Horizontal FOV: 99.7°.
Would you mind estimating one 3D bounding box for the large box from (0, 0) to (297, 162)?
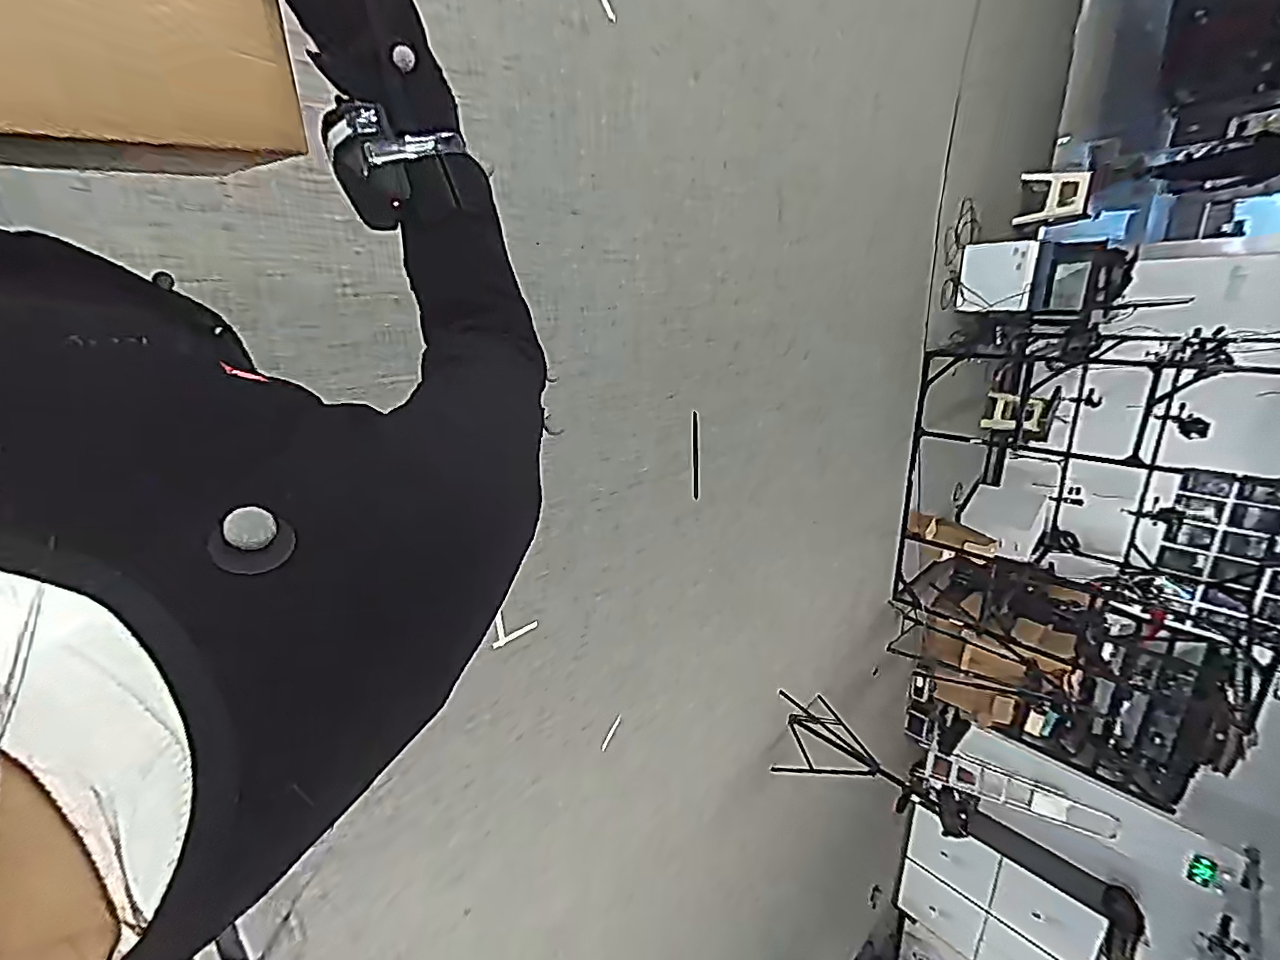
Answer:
[{"bbox_3d":[-0.475,-0.353,0.269,0.408,0.320,0.320,-23,125,-39],"label":"large box"}]
